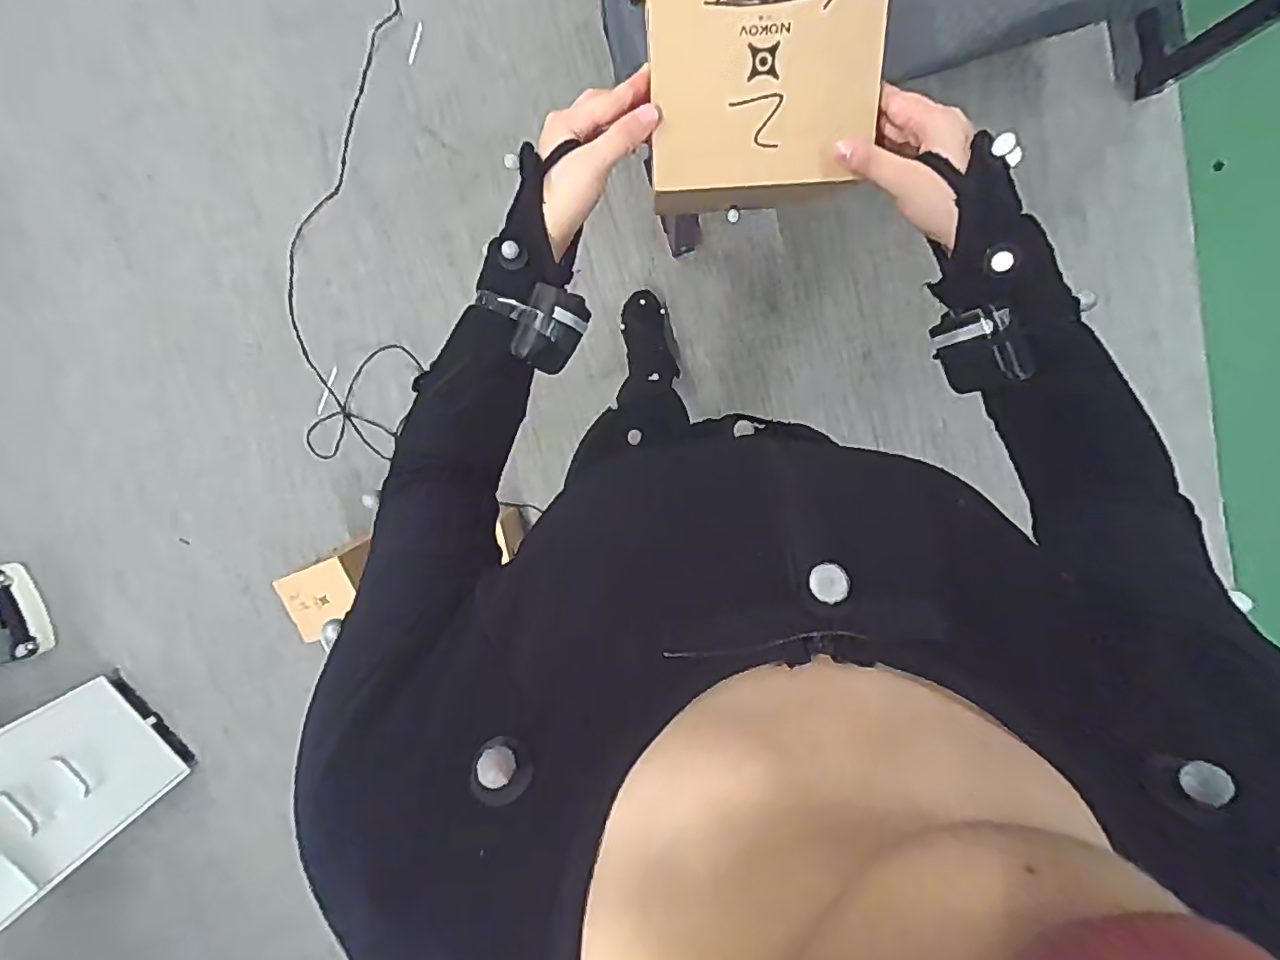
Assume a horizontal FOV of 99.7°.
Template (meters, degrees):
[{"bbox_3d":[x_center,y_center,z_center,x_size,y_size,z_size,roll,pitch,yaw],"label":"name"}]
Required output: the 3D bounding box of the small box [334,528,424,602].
[{"bbox_3d":[-0.717,0.247,1.475,0.179,0.176,0.168,-20,100,6],"label":"small box"}]

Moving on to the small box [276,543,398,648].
[{"bbox_3d":[-0.718,0.271,1.312,0.179,0.176,0.168,-21,99,7],"label":"small box"}]

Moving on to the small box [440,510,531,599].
[{"bbox_3d":[-0.405,0.196,1.451,0.168,0.176,0.179,-11,100,4],"label":"small box"}]
